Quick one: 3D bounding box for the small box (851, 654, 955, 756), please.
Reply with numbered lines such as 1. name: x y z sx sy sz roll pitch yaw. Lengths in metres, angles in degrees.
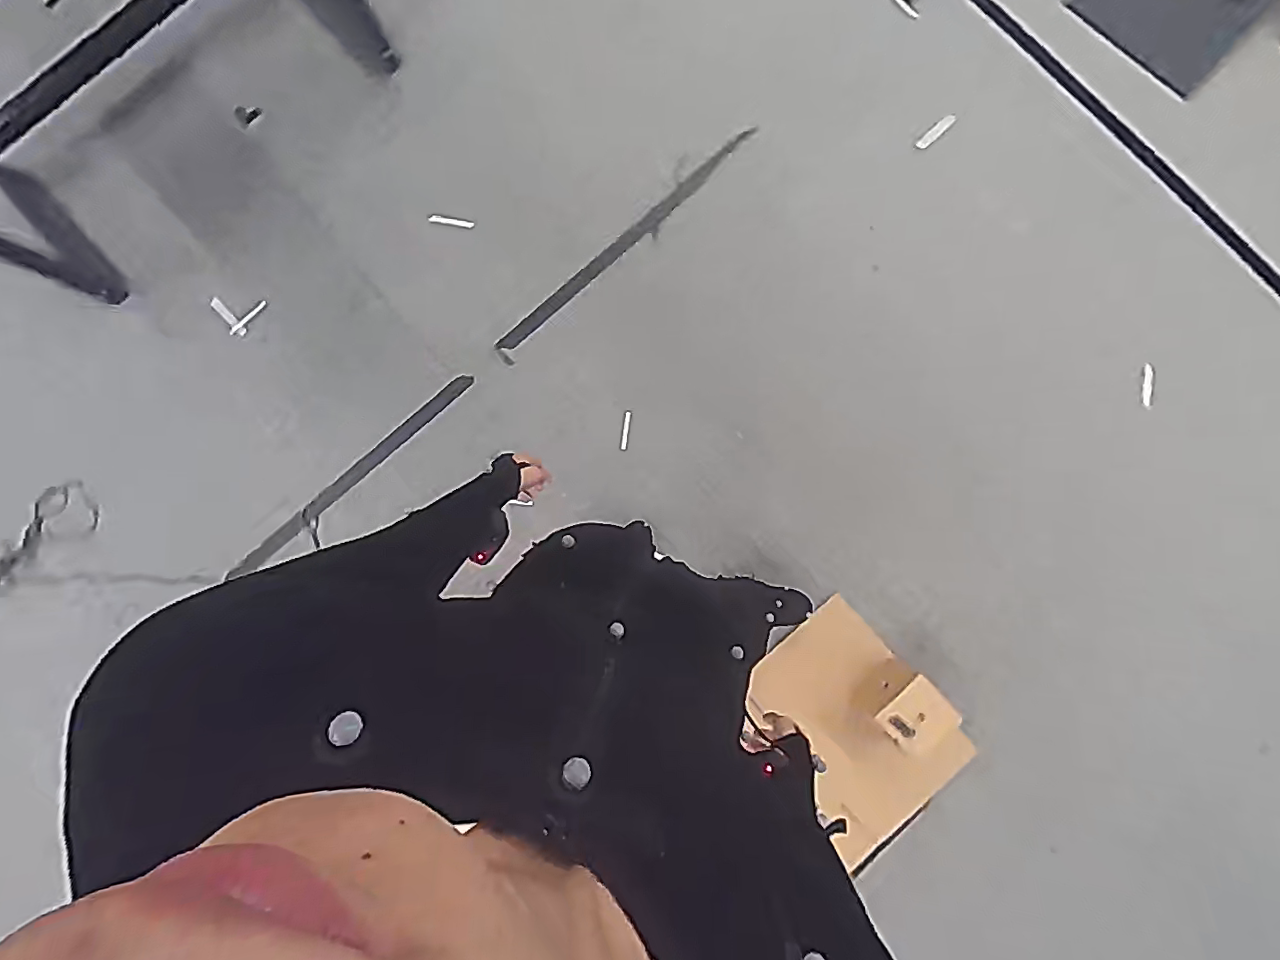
1. small box: 0.717 0.616 1.505 0.179 0.176 0.168 -41 87 -3
